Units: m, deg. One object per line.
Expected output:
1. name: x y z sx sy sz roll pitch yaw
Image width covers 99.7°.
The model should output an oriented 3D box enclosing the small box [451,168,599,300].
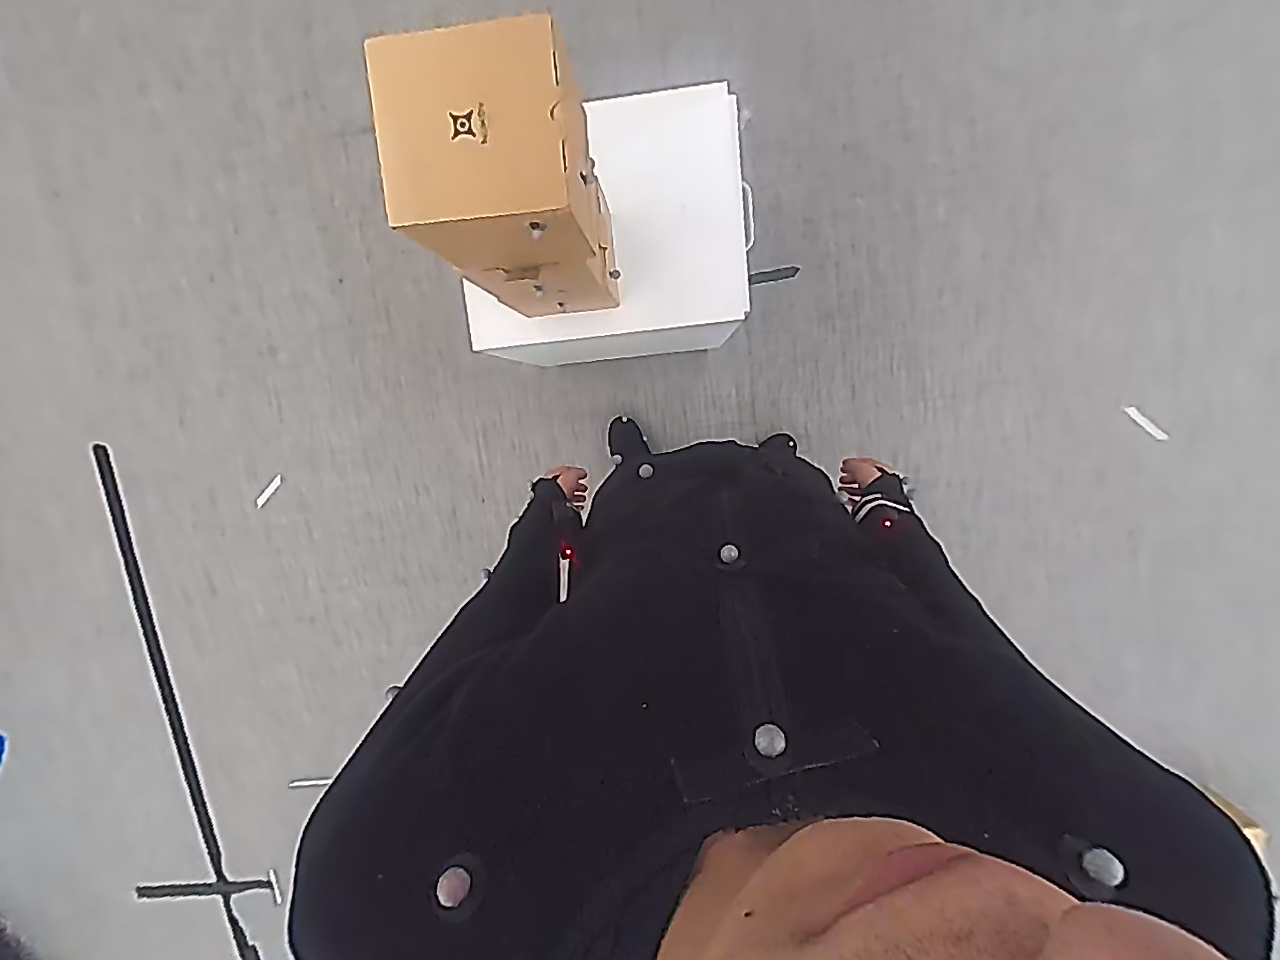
1. small box: -0.152 -0.355 0.733 0.168 0.176 0.179 -3 98 4

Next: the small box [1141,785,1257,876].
1. small box: 1.676 1.048 1.628 0.179 0.176 0.168 -6 98 4

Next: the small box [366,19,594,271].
1. small box: -0.153 -0.331 0.572 0.179 0.176 0.168 -5 97 3
